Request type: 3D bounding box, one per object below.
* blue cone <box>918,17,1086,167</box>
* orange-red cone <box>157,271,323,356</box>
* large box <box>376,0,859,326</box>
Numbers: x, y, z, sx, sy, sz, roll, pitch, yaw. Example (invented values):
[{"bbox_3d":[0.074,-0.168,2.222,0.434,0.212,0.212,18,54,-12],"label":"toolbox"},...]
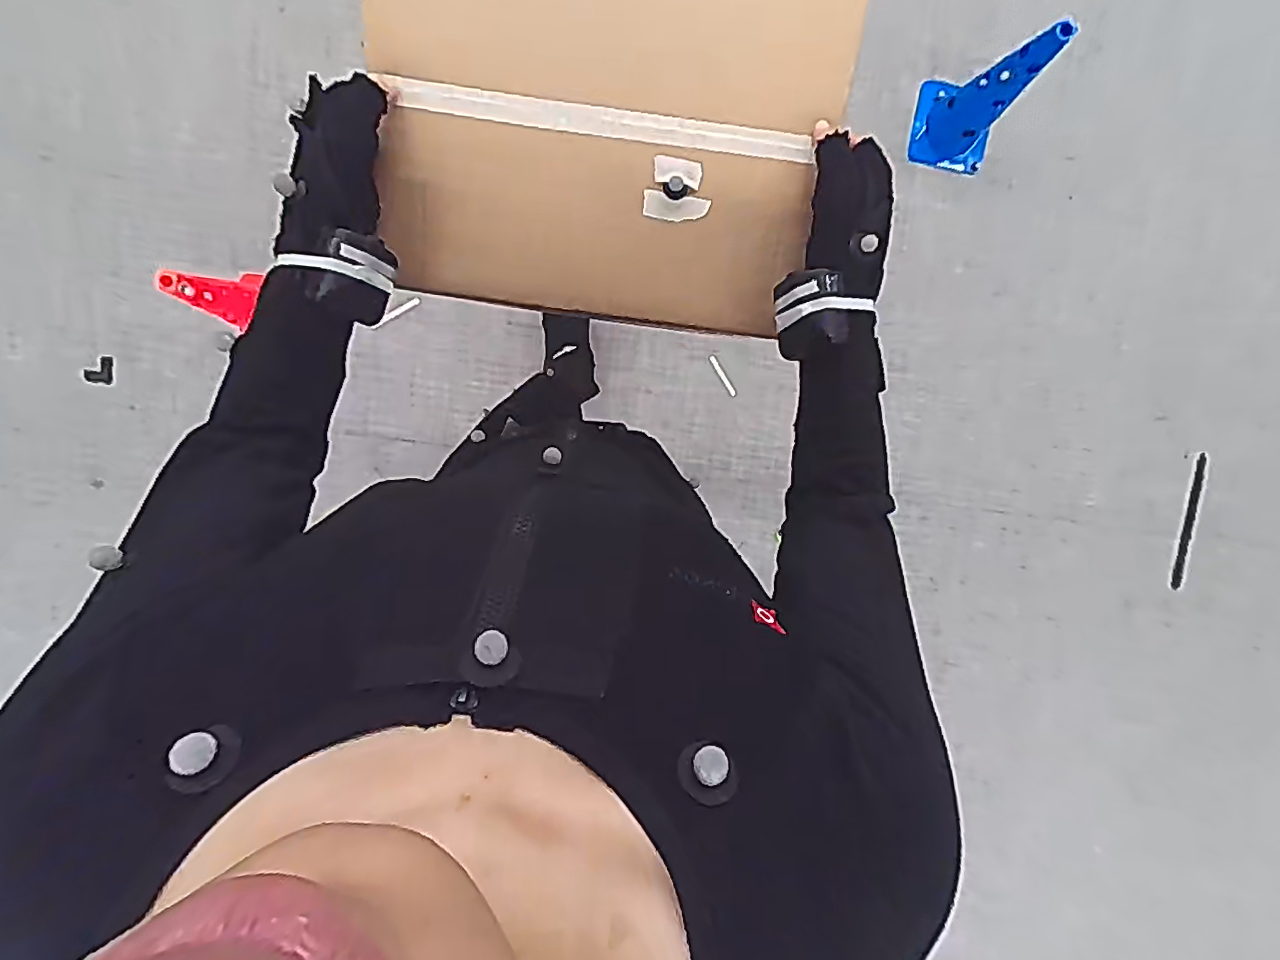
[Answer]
[{"bbox_3d":[0.822,-0.895,1.223,0.192,0.380,0.193,11,96,-5],"label":"blue cone"},{"bbox_3d":[-0.896,-0.396,1.194,0.198,0.360,0.199,5,98,-2],"label":"orange-red cone"},{"bbox_3d":[-0.030,-0.357,0.611,0.408,0.320,0.320,7,105,-2],"label":"large box"}]
